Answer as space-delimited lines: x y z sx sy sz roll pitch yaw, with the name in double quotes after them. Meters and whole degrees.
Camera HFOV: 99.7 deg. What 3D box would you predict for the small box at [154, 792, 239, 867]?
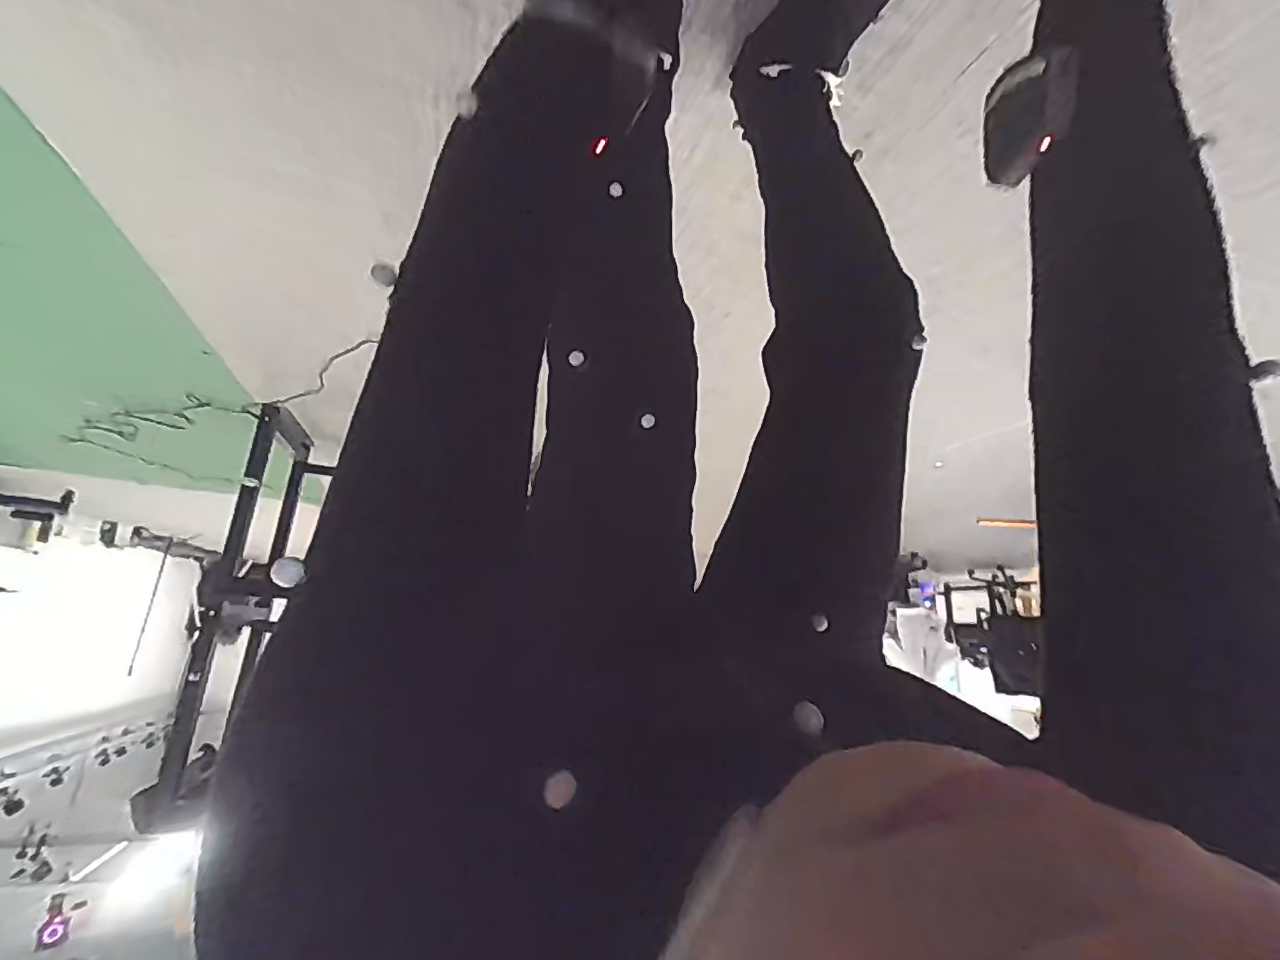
-1.500 1.181 1.844 0.179 0.176 0.168 11 164 -22 "small box"
